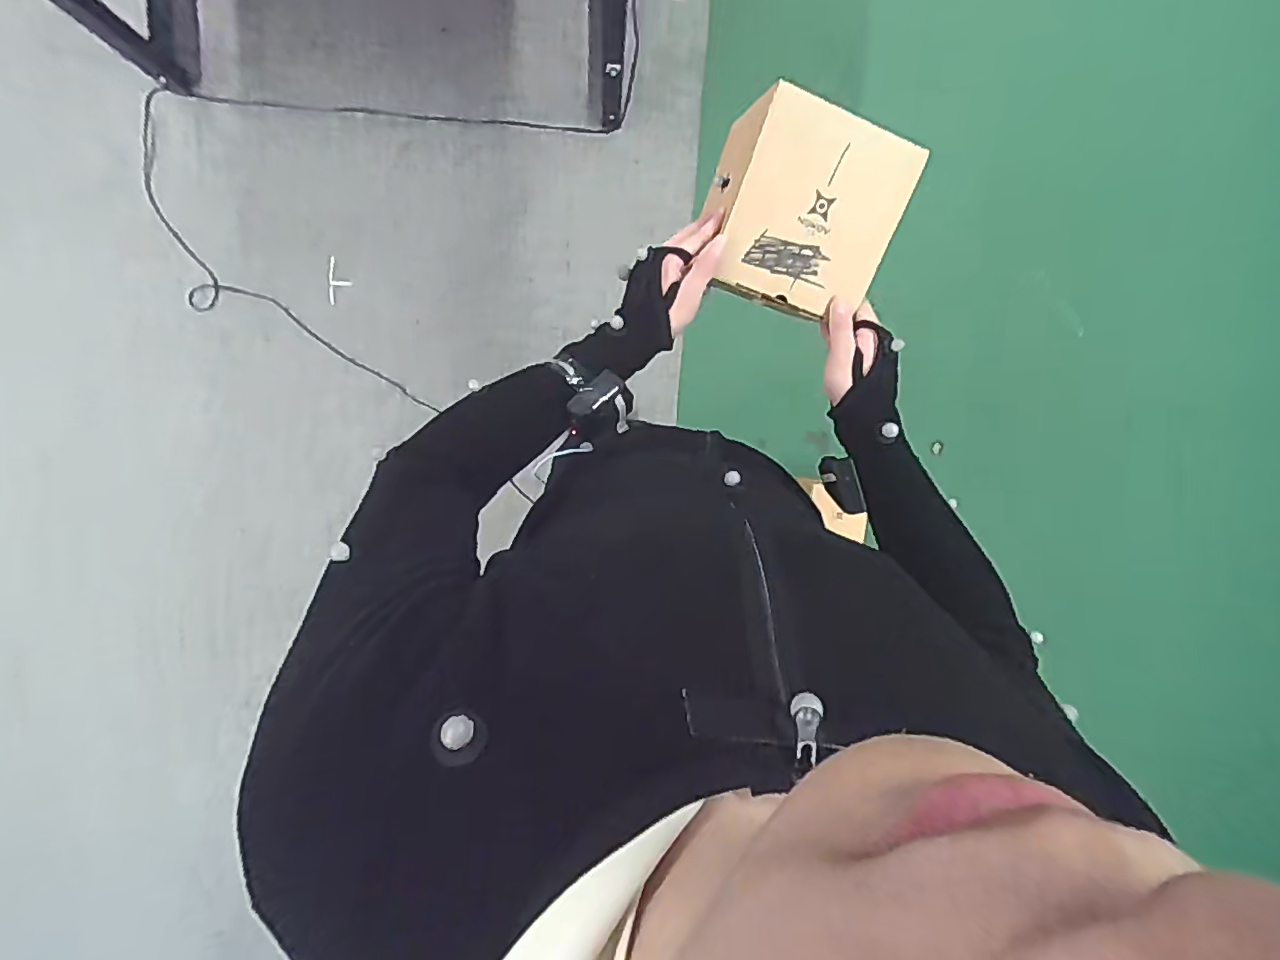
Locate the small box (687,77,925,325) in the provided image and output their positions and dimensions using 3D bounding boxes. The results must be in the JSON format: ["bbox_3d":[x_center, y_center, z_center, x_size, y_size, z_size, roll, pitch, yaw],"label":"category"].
[{"bbox_3d":[0.160,-0.288,0.595,0.168,0.176,0.179,16,108,-12],"label":"small box"}]

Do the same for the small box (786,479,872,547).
[{"bbox_3d":[0.555,0.093,1.601,0.179,0.176,0.168,5,97,-5],"label":"small box"}]
